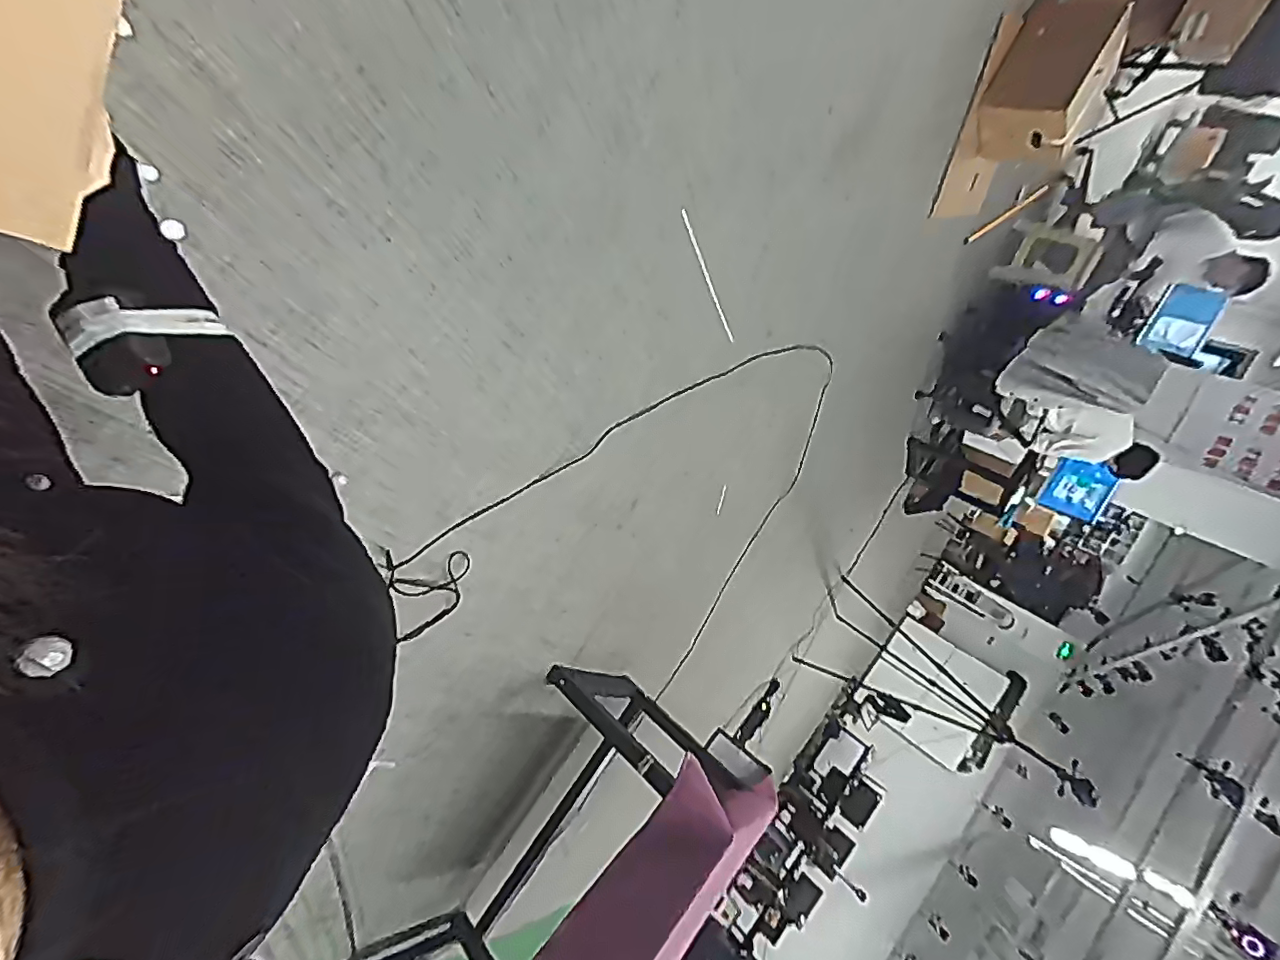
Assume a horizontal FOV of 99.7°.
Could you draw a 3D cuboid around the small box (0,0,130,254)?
[{"bbox_3d":[-0.401,-0.255,0.278,0.168,0.176,0.179,7,117,-54],"label":"small box"}]
